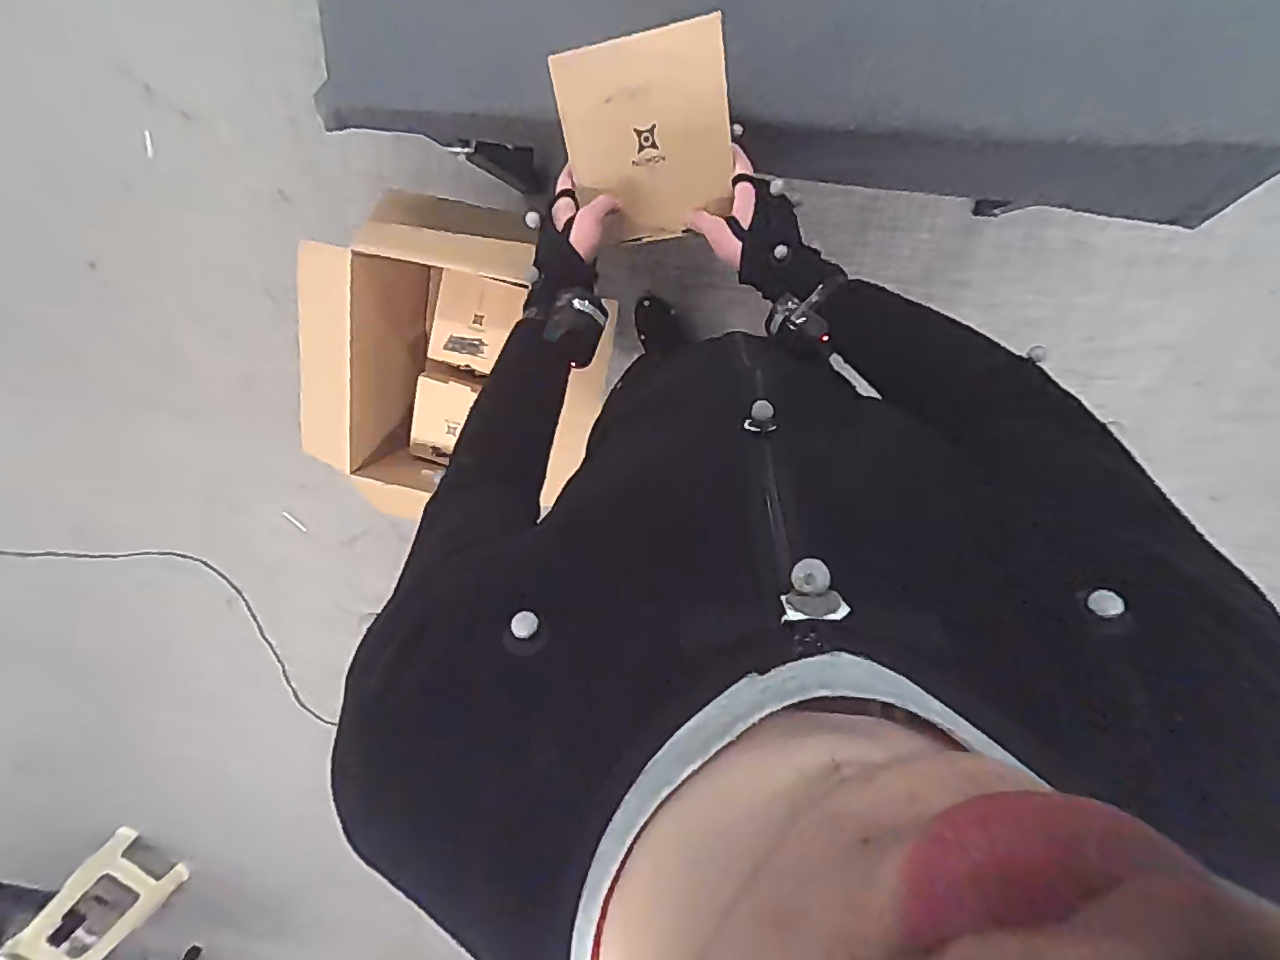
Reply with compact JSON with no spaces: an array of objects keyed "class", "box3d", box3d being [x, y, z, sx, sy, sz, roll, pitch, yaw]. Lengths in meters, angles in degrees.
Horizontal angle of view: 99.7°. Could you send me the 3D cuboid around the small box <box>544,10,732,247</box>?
[{"class":"small box","box3d":[0.011,-0.379,0.605,0.168,0.176,0.179,-7,119,10]}]
